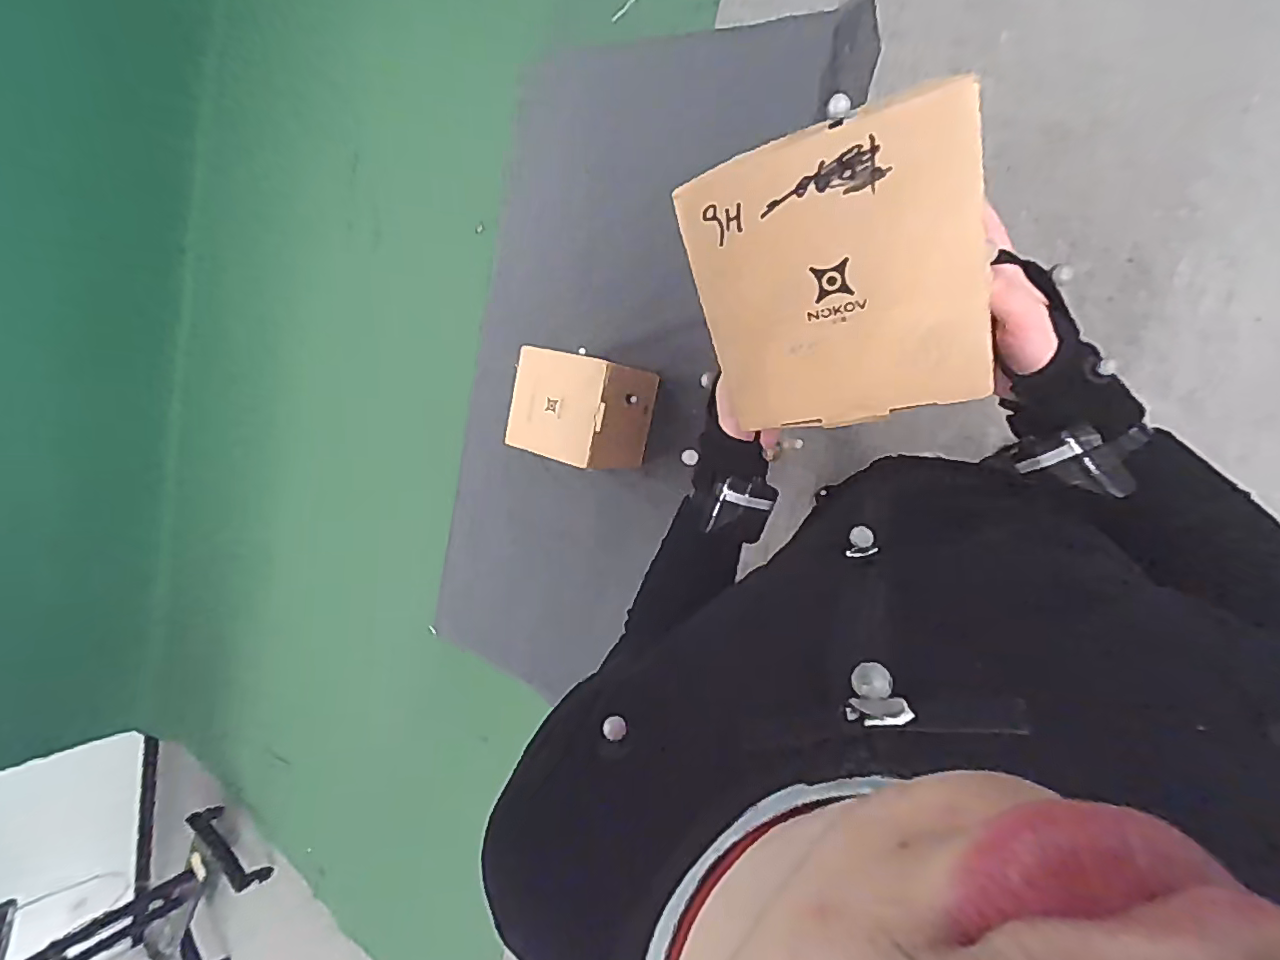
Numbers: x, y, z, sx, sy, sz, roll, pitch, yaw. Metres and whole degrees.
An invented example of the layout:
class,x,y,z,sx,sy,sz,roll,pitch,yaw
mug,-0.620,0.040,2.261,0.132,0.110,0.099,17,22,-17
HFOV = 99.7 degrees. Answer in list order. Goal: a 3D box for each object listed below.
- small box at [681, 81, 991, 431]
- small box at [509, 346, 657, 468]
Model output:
class,x,y,z,sx,sy,sz,roll,pitch,yaw
small box,0.150,-0.160,0.398,0.168,0.176,0.179,-6,123,27
small box,-0.092,-0.123,0.928,0.179,0.176,0.168,17,99,29
